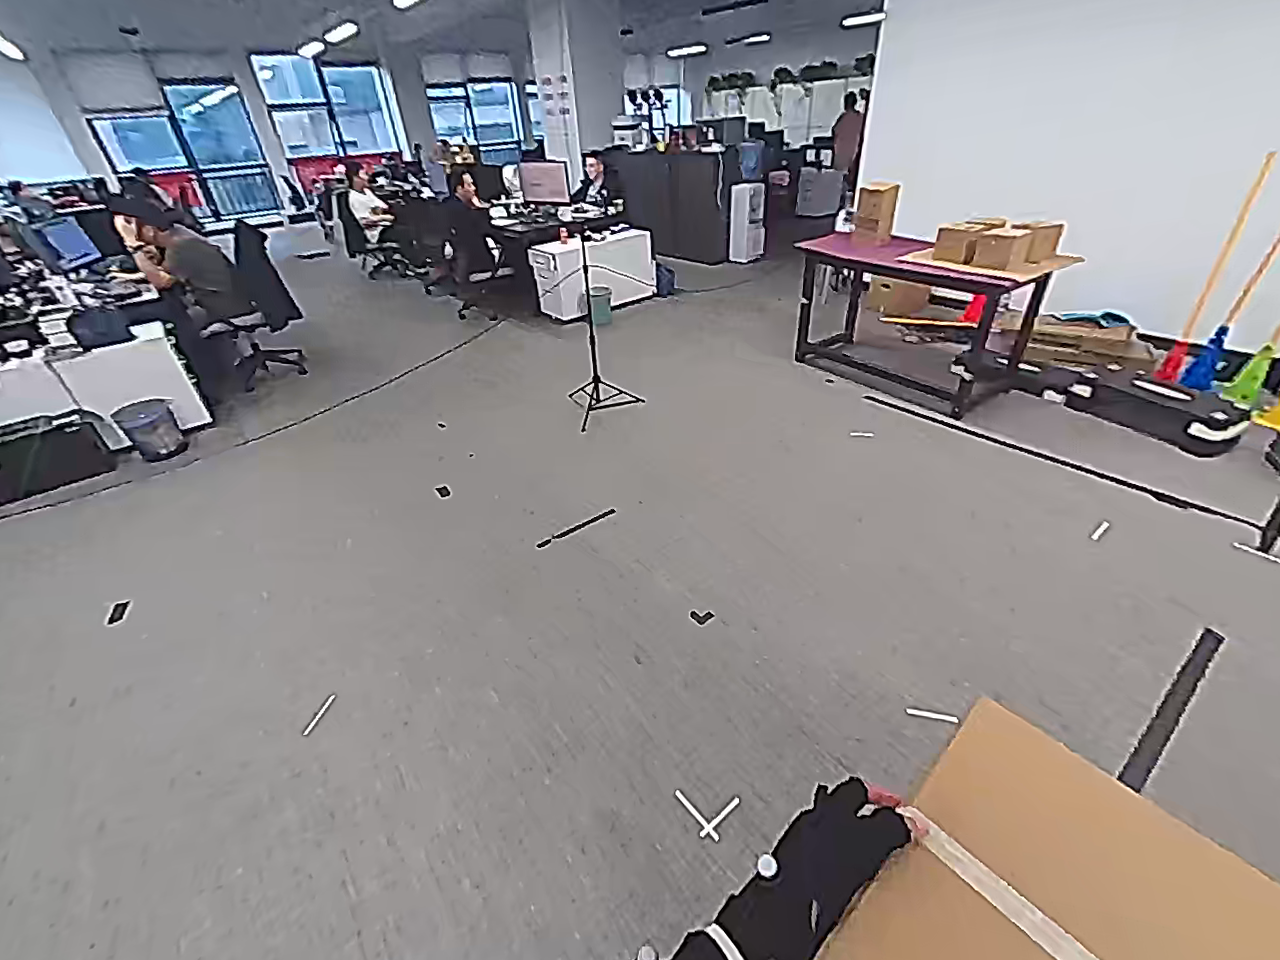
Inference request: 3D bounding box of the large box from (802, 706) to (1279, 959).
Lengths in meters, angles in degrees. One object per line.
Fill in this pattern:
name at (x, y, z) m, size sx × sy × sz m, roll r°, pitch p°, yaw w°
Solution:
large box at (0.373, 0.497, 0.460) m, size 0.320 × 0.320 × 0.408 m, roll -34°, pitch 49°, yaw -29°
